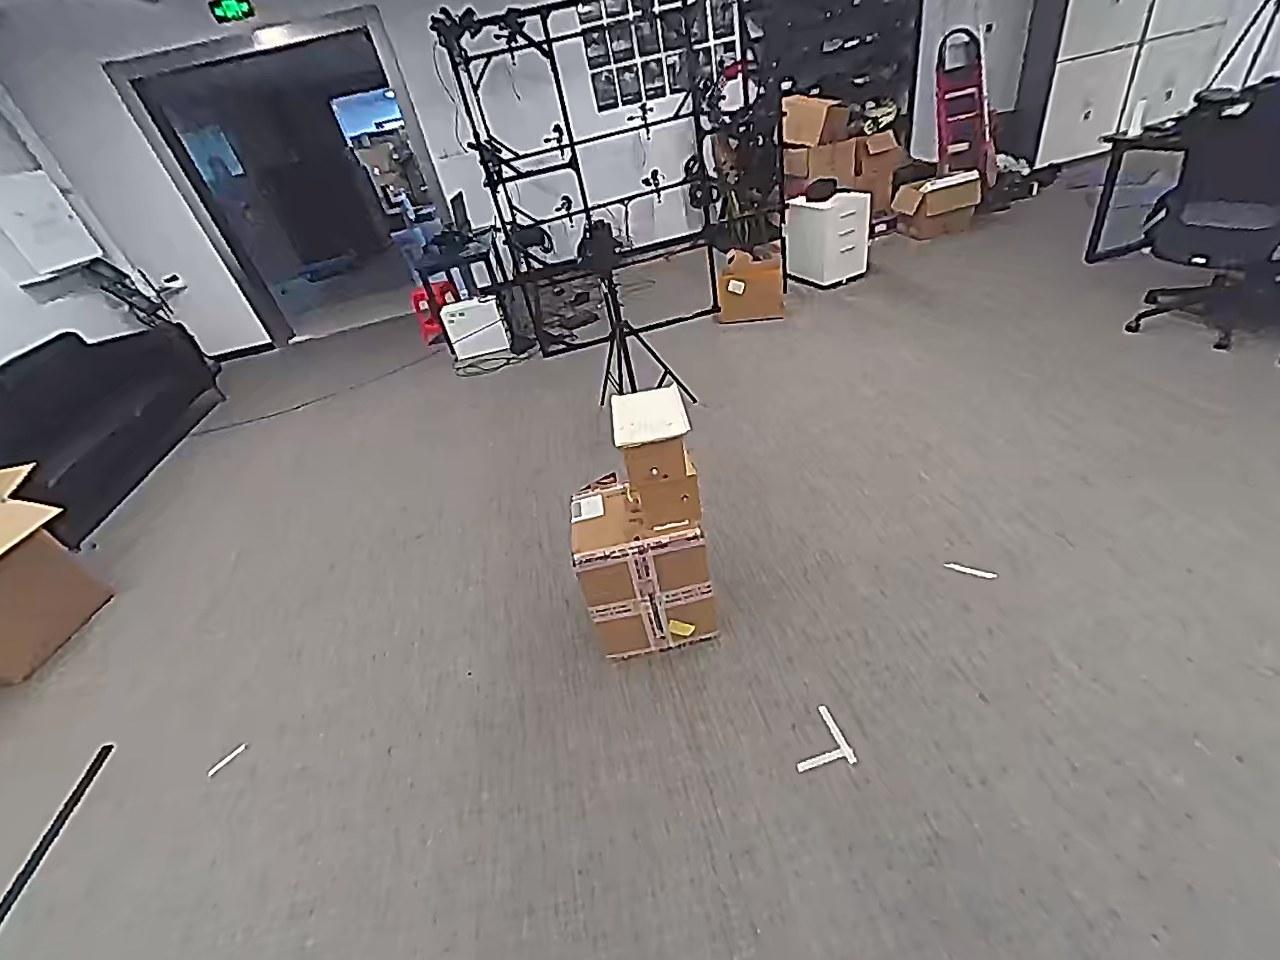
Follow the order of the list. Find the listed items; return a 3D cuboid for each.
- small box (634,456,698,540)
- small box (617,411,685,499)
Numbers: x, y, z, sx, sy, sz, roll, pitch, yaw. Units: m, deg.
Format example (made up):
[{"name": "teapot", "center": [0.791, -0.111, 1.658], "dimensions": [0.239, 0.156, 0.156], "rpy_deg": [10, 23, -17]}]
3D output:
[{"name": "small box", "center": [0.073, 0.055, 1.620], "dimensions": [0.179, 0.176, 0.168], "rpy_deg": [-12, 36, -2]}, {"name": "small box", "center": [0.030, -0.071, 1.520], "dimensions": [0.168, 0.176, 0.179], "rpy_deg": [-9, 37, 1]}]
